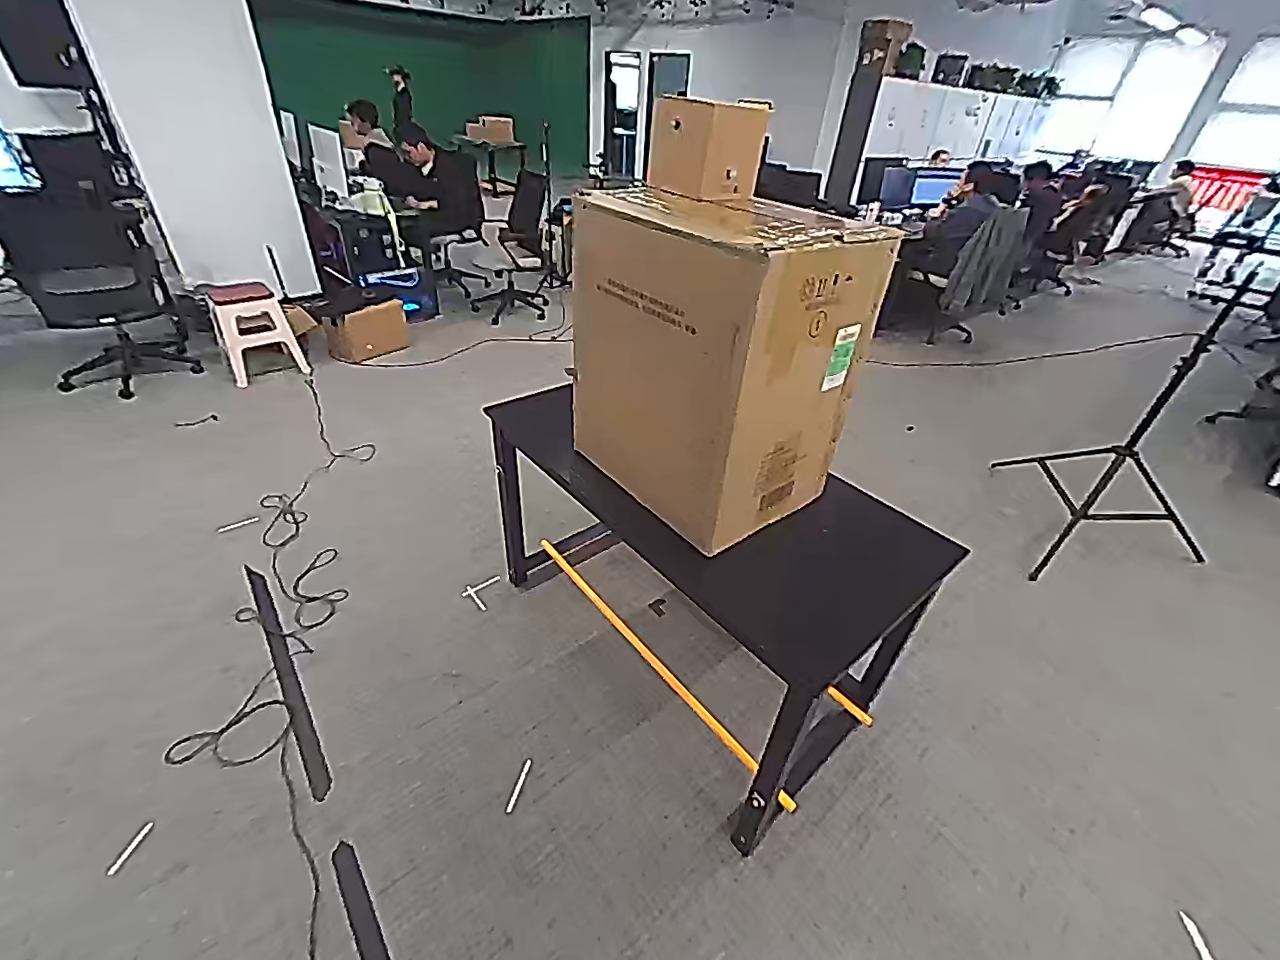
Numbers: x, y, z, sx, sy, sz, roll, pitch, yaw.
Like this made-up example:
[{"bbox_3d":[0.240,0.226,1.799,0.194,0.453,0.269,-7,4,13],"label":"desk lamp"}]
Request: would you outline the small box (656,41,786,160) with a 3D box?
[{"bbox_3d":[0.150,-0.743,1.064,0.168,0.176,0.179,-22,45,-34],"label":"small box"}]
